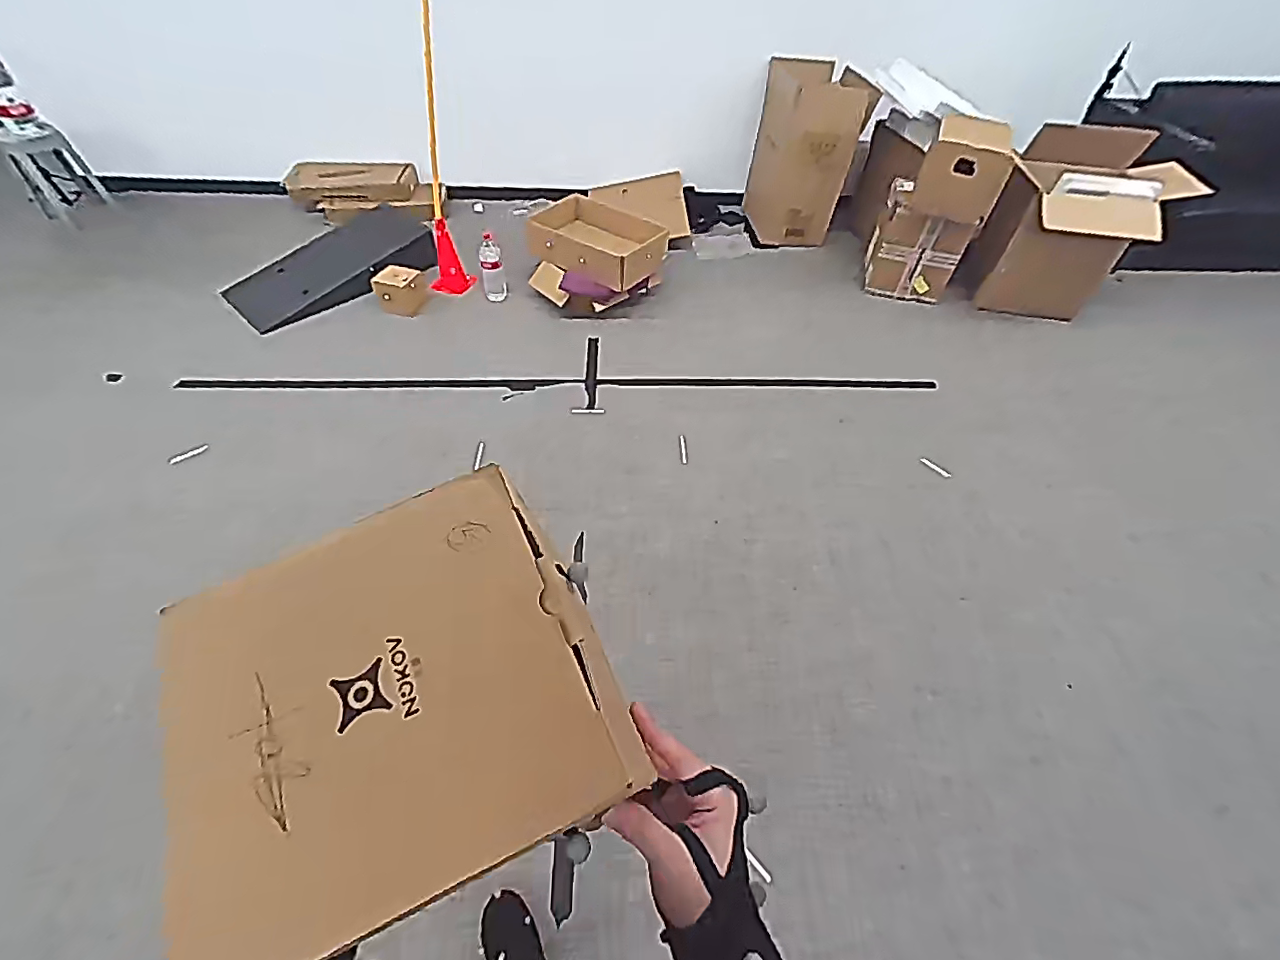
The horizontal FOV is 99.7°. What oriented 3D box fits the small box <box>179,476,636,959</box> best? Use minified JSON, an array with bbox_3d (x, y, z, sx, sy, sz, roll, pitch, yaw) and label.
[{"bbox_3d":[-0.110,0.131,0.316,0.179,0.176,0.168,-26,63,-7],"label":"small box"}]
